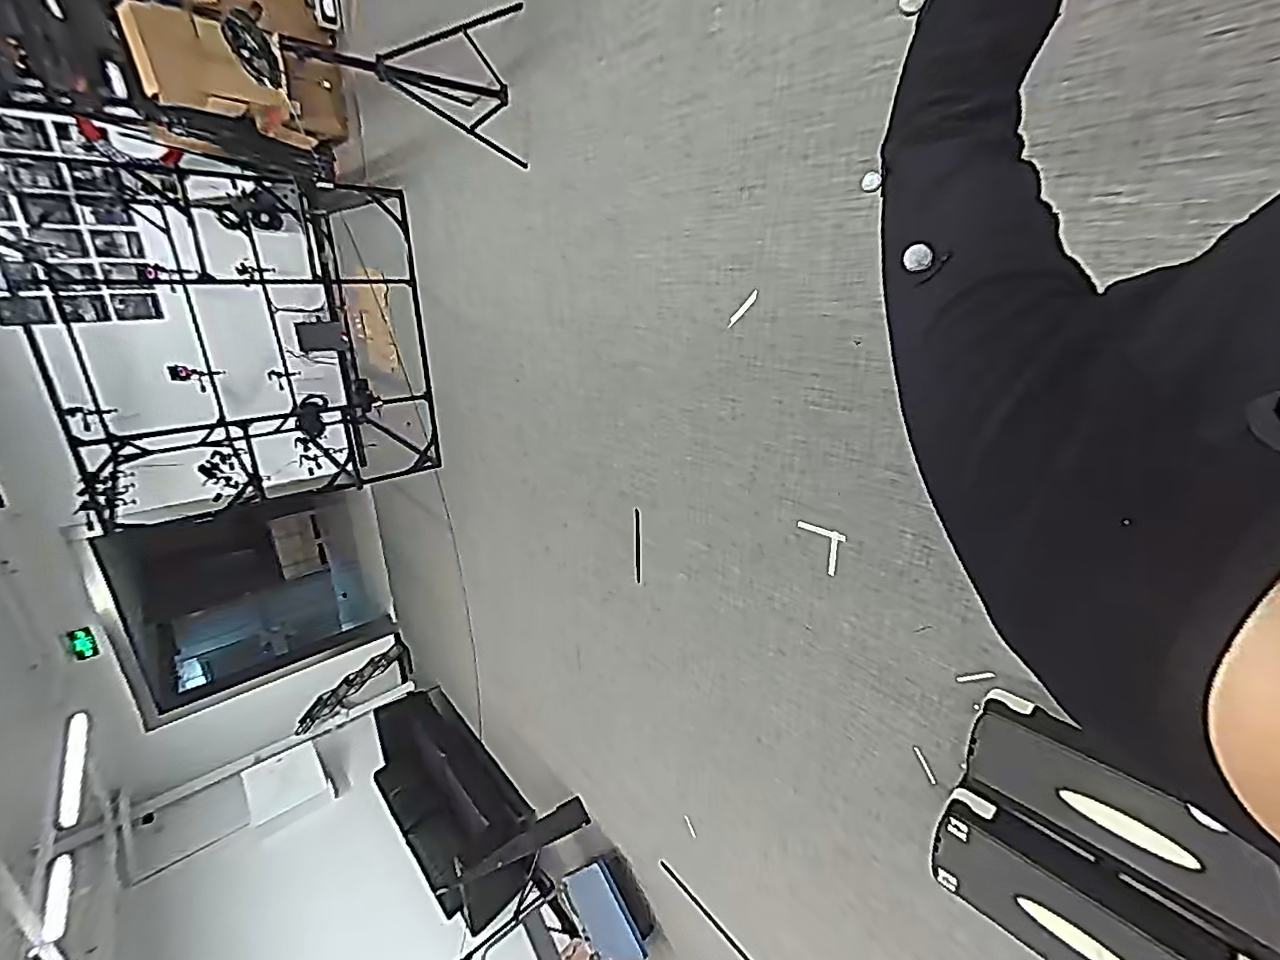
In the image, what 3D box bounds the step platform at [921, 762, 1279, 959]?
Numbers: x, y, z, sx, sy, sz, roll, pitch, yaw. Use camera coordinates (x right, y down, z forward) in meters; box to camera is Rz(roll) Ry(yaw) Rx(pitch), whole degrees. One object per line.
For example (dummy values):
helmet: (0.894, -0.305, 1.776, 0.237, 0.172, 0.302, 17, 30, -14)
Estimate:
step platform: (1.098, 1.060, 1.373, 0.684, 0.204, 0.286, 20, 119, 47)
